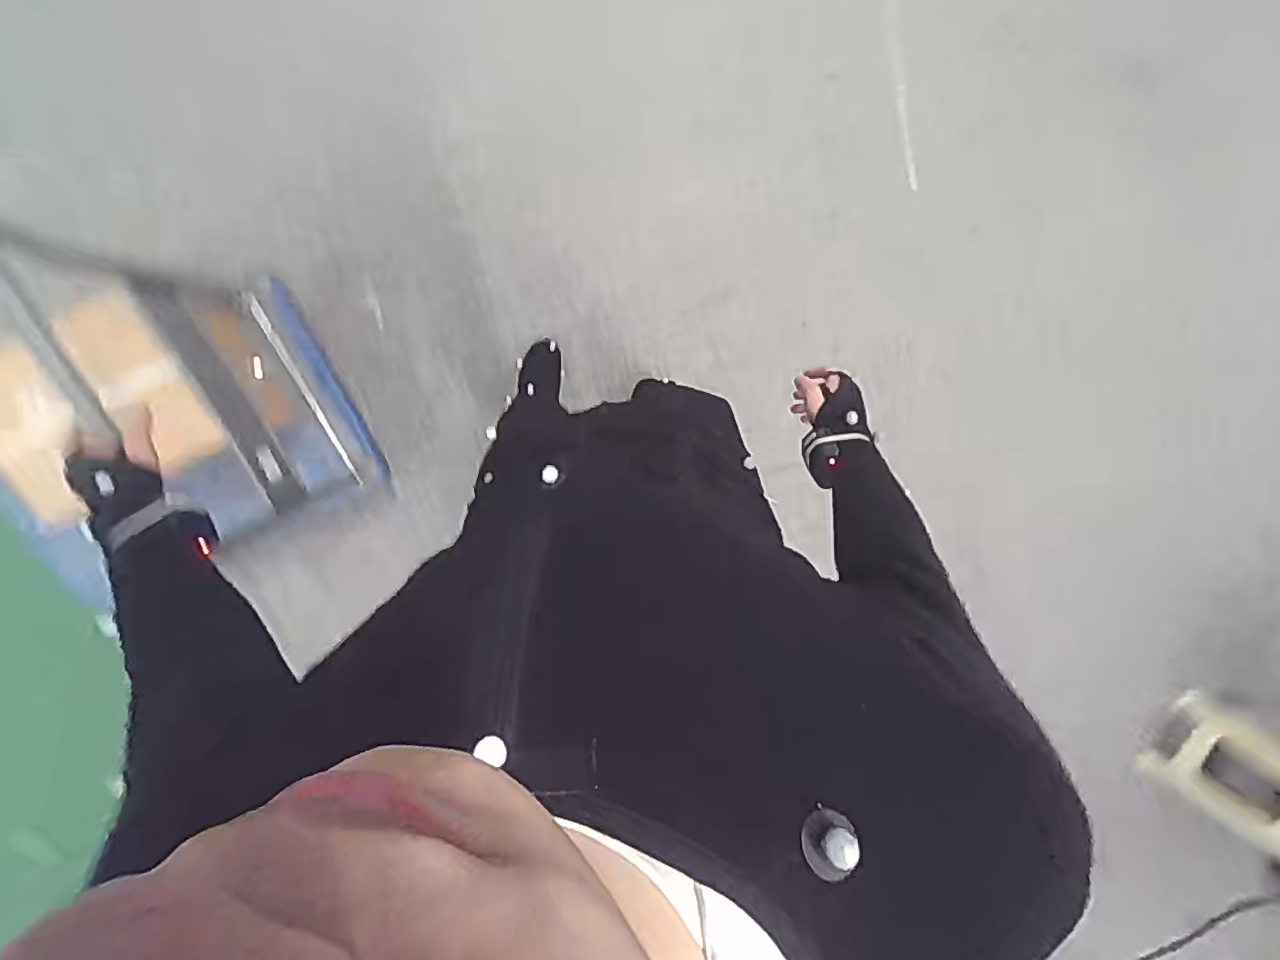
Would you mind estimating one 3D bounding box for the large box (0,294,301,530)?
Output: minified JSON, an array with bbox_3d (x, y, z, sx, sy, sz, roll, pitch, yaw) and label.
[{"bbox_3d":[-1.058,-0.158,1.161,0.408,0.320,0.320,-26,105,2],"label":"large box"}]
